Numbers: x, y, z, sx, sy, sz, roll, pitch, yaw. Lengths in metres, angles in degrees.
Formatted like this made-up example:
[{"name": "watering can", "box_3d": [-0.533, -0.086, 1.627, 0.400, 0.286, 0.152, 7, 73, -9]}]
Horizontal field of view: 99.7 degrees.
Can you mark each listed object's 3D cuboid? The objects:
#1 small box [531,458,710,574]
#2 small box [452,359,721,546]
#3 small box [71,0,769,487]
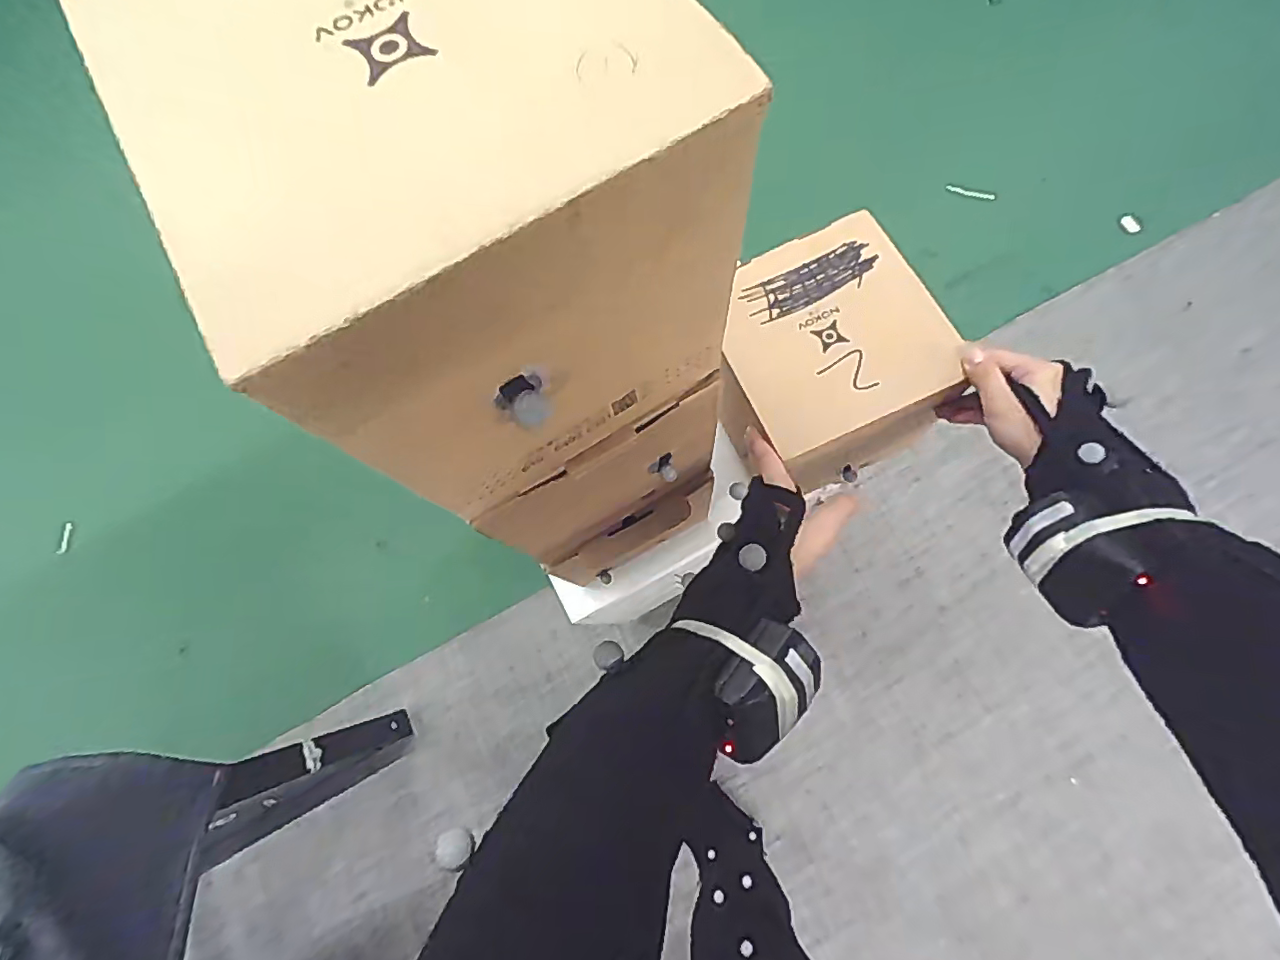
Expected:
[{"name": "small box", "box_3d": [-0.042, -0.016, 0.549, 0.168, 0.176, 0.179, -28, 74, -4]}, {"name": "small box", "box_3d": [-0.059, -0.066, 0.395, 0.168, 0.176, 0.179, -30, 74, -6]}, {"name": "small box", "box_3d": [-0.070, -0.113, 0.239, 0.168, 0.176, 0.179, -31, 74, -6]}]
